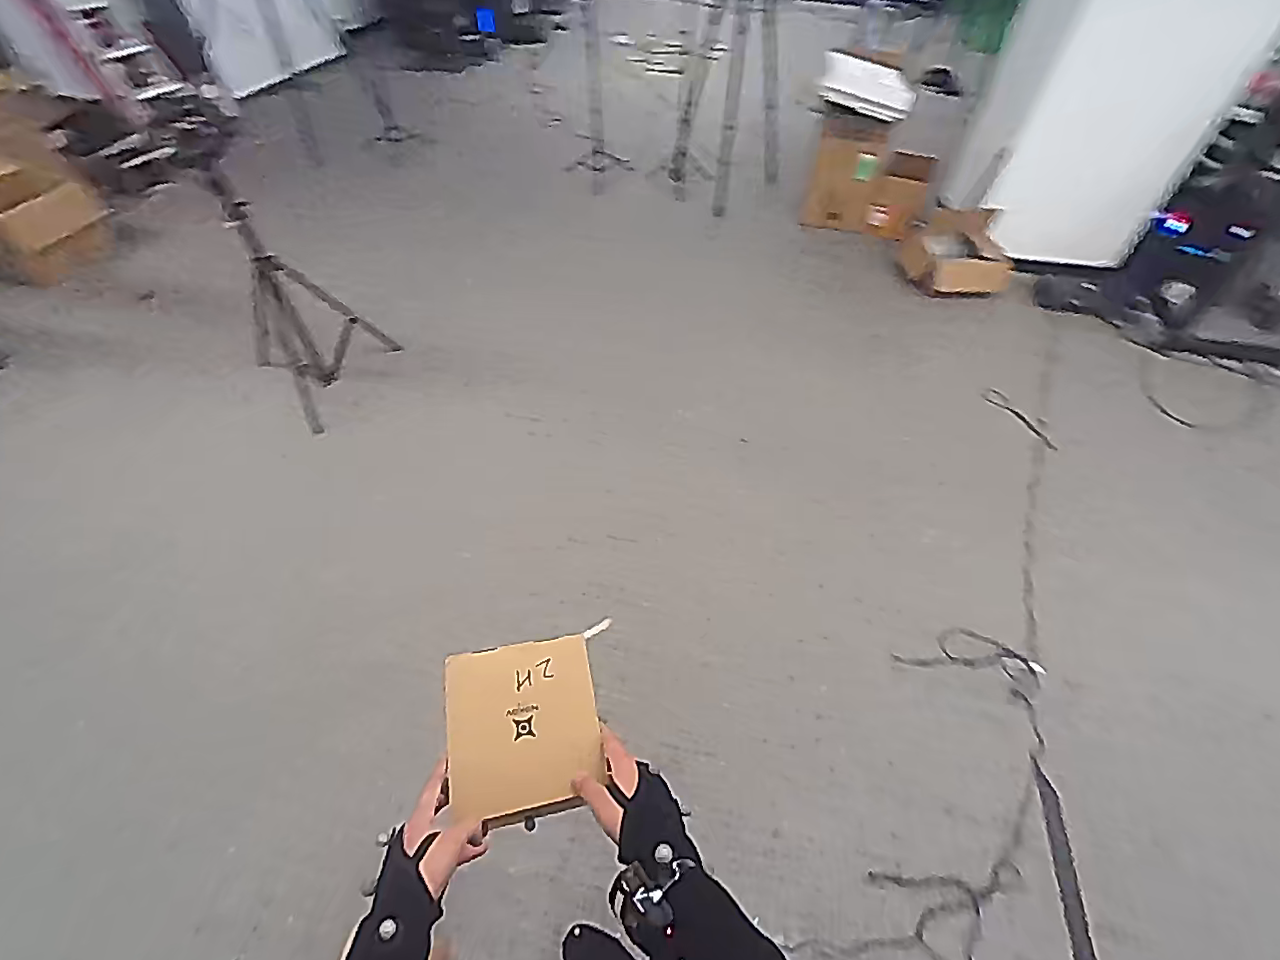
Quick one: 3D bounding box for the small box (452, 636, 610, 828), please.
[{"bbox_3d":[-0.136,0.314,0.667,0.168,0.176,0.179,-4,56,-14],"label":"small box"}]
